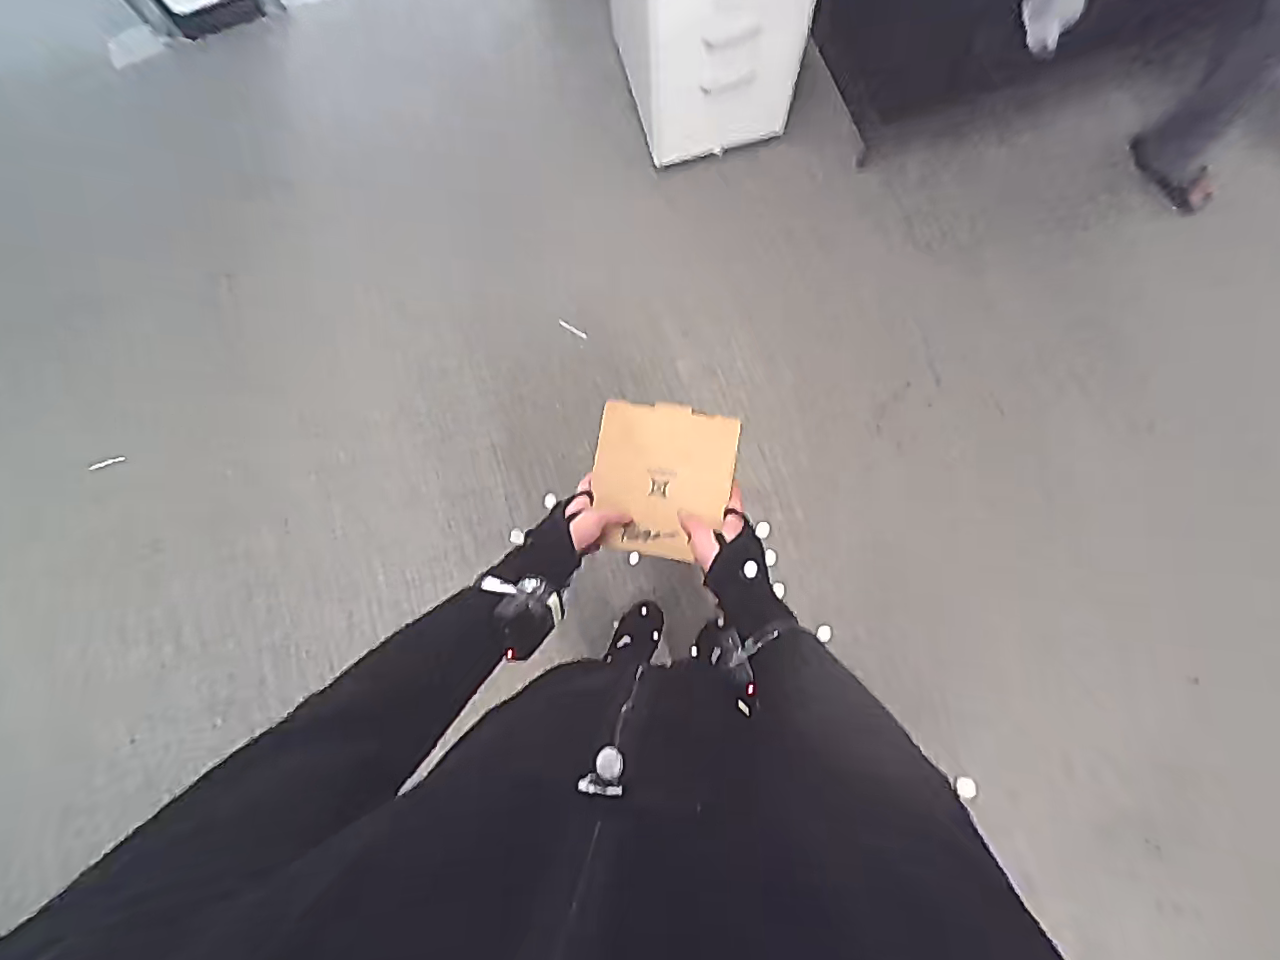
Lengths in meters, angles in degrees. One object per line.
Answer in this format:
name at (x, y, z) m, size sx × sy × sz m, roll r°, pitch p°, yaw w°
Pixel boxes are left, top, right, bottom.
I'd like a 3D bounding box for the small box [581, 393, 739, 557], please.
small box at (0.030, 0.002, 0.721) m, size 0.168 × 0.176 × 0.179 m, roll 9°, pitch 84°, yaw 6°
